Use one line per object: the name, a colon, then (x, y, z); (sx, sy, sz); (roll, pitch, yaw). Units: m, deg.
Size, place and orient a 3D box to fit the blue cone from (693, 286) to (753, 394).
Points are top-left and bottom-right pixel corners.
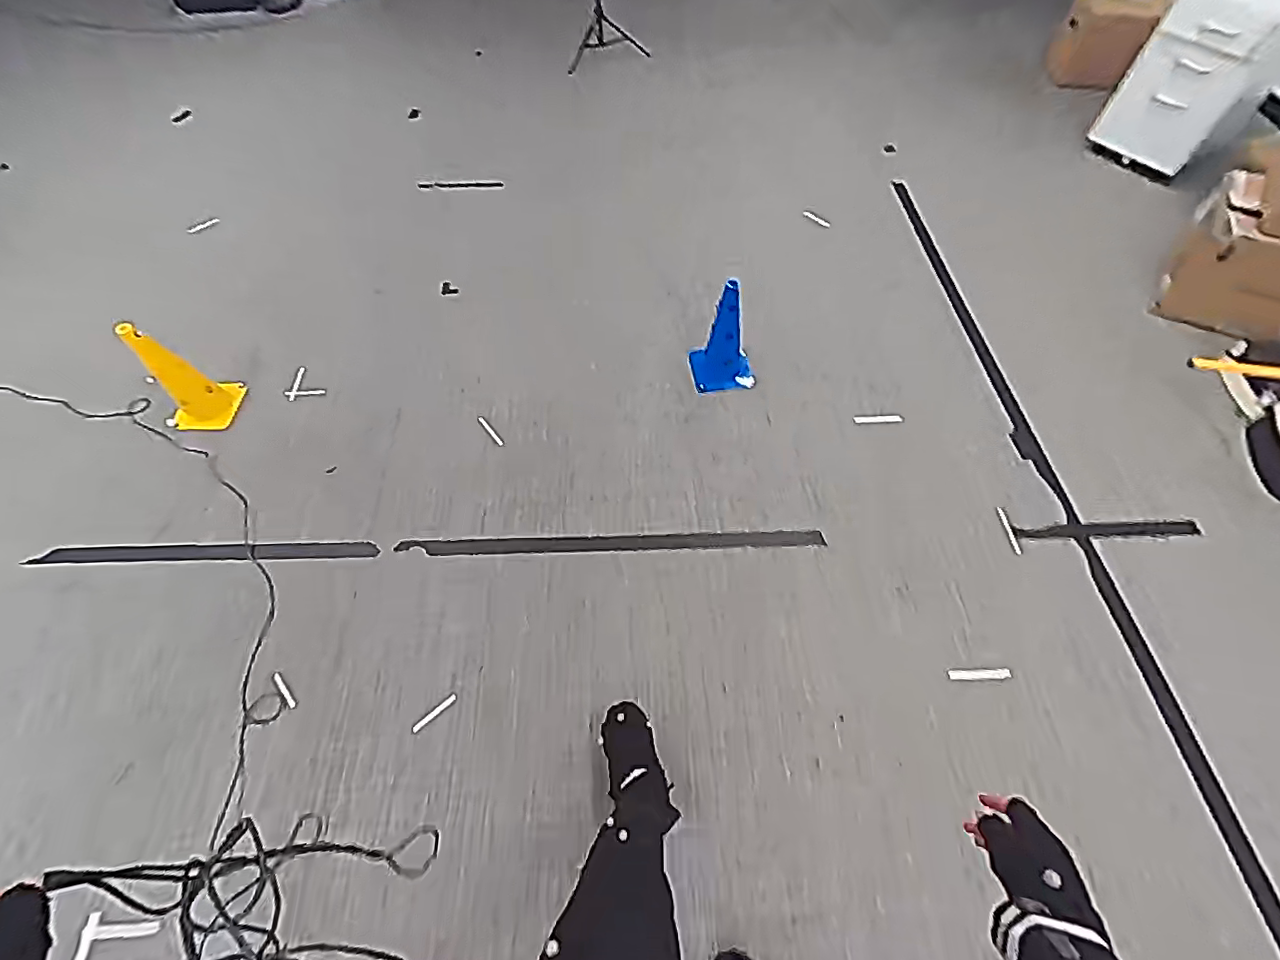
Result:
blue cone: (0.281, -0.465, 1.738); (0.193, 0.380, 0.192); (-6, 58, -2)
